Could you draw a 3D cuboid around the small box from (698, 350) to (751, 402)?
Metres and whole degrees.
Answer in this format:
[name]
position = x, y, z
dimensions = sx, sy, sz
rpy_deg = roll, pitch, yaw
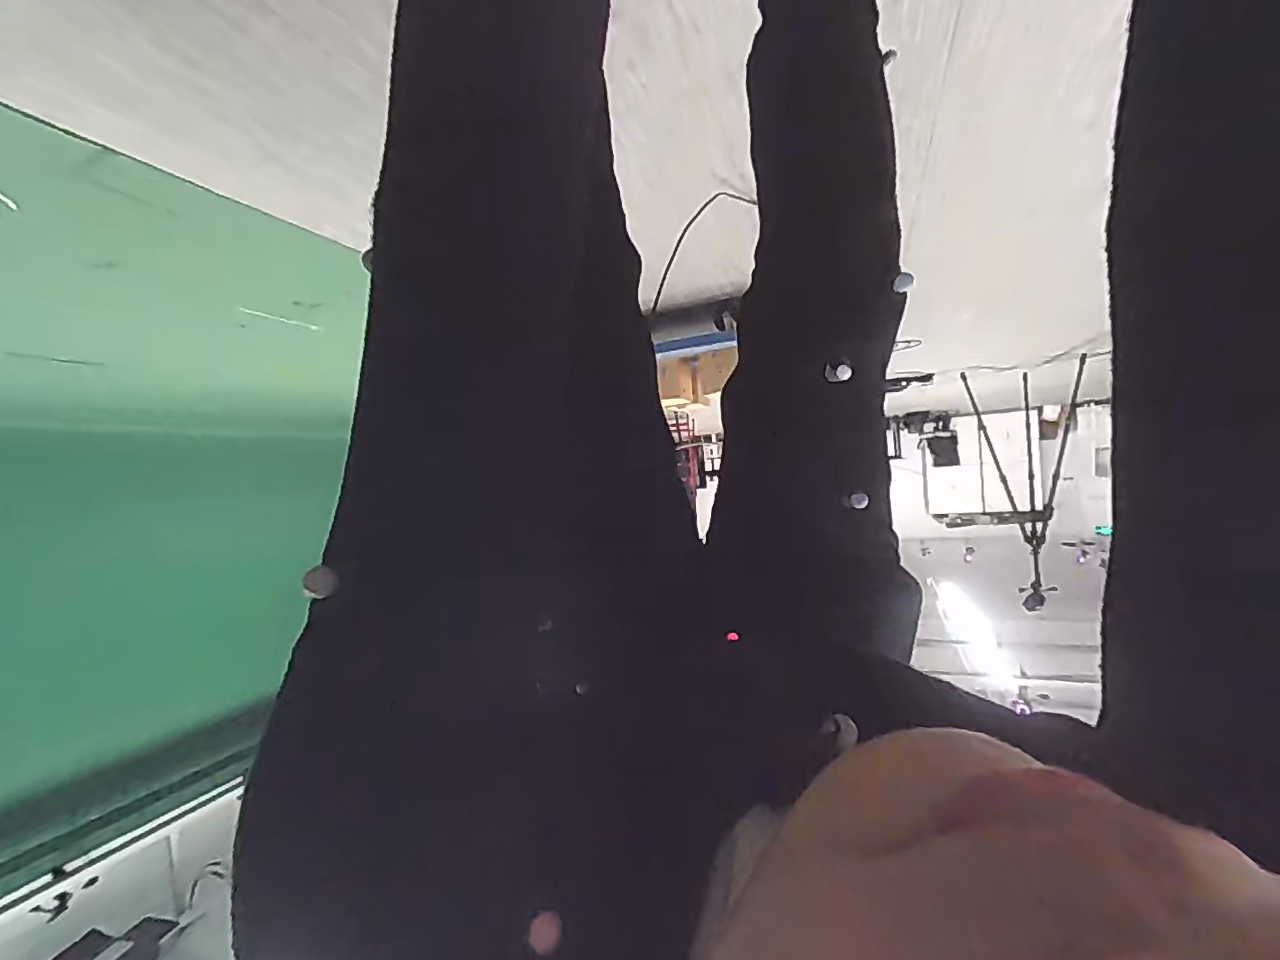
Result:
[small box]
position = 0.336, -0.413, 2.147
dimensions = 0.168, 0.176, 0.179
rpy_deg = -4, 180, 24
